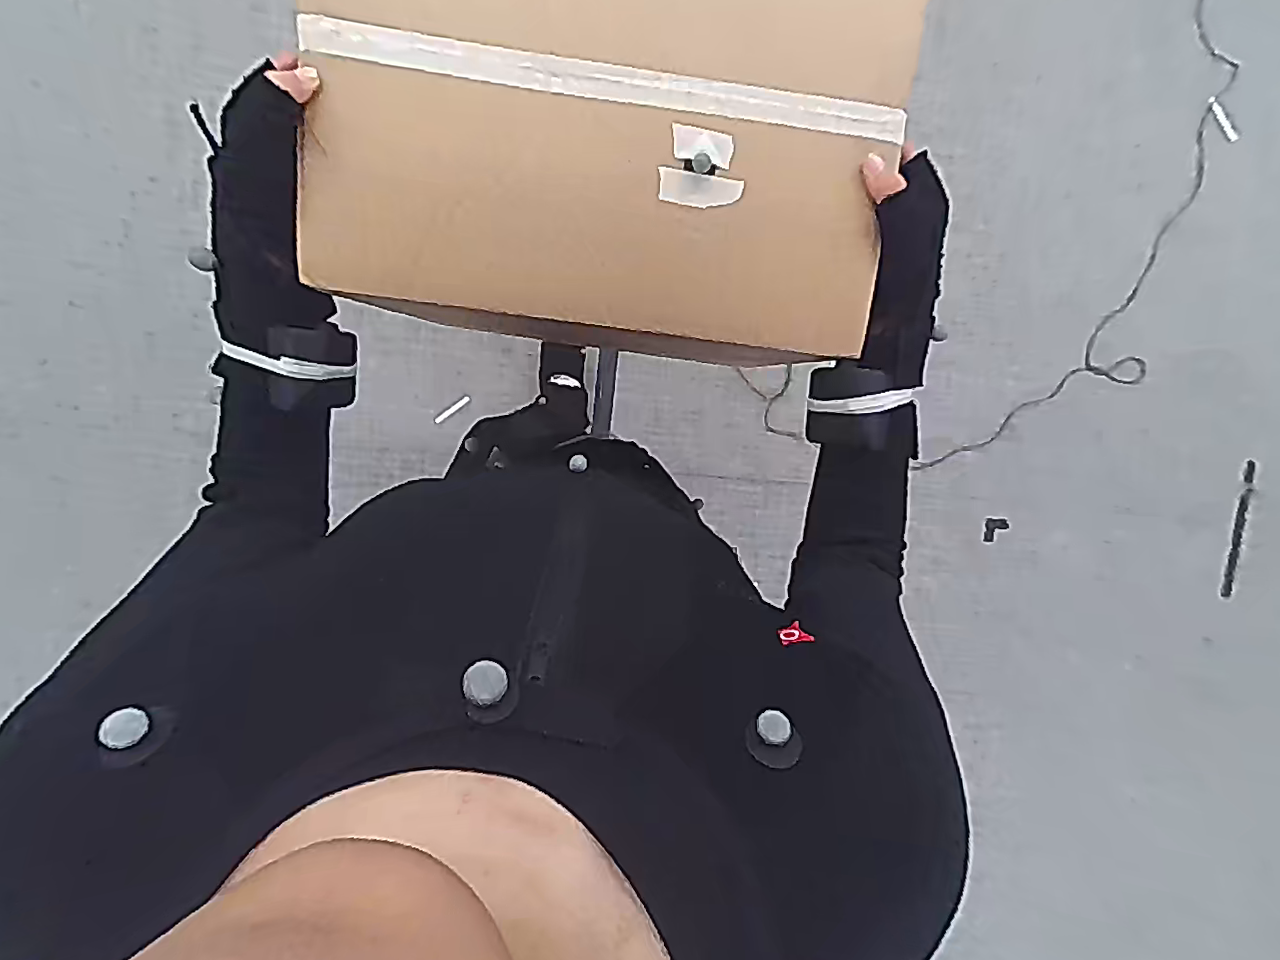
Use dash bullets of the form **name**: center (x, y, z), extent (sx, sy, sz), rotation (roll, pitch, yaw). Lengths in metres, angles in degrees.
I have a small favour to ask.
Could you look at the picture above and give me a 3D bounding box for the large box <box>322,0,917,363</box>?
- **large box**: center (-0.024, -0.293, 0.521), extent (0.408, 0.320, 0.320), rotation (6, 101, -4)
